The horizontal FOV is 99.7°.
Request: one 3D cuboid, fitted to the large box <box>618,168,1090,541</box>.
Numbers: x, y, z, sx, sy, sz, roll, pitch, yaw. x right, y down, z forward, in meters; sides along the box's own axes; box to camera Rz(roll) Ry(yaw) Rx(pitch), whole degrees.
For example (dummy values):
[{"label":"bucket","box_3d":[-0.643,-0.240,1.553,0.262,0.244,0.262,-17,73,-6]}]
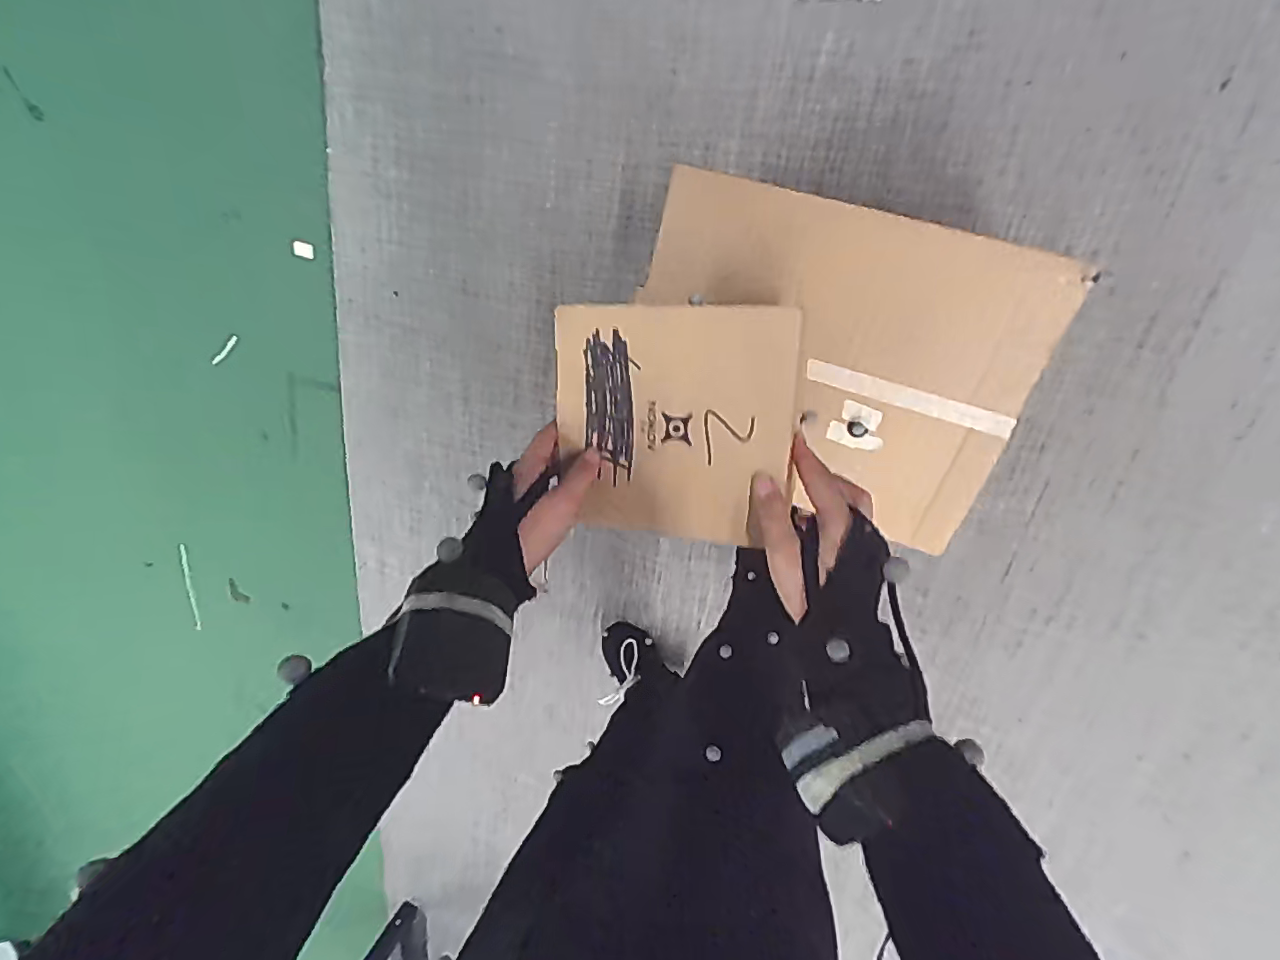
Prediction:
[{"label":"large box","box_3d":[0.230,-0.174,0.714,0.408,0.320,0.320,20,115,12]}]
